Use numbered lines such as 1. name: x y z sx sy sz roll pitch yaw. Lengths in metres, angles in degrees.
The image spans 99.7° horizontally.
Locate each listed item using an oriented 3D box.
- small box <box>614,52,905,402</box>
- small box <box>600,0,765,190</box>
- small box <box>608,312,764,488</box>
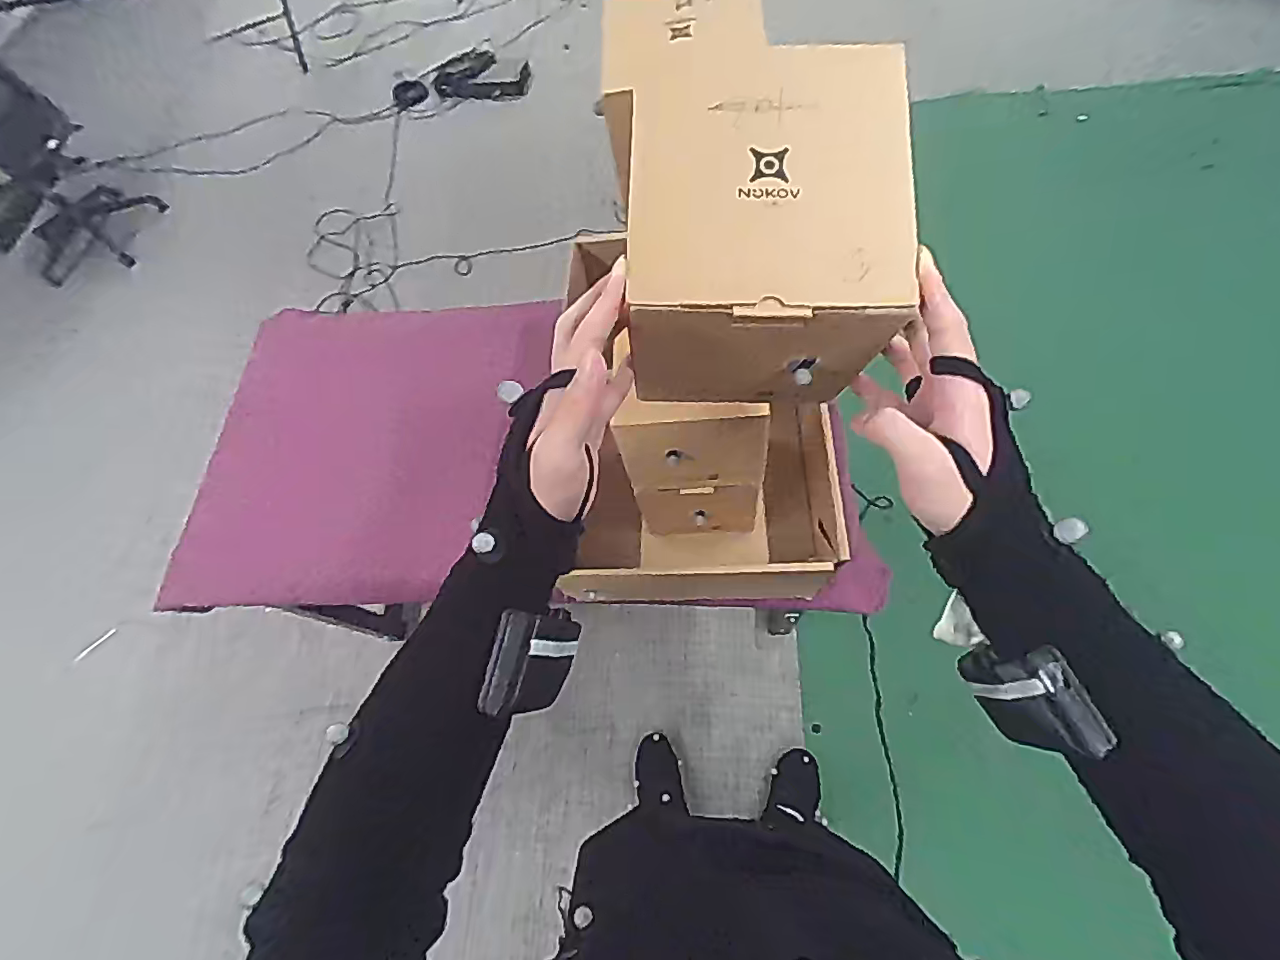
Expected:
1. small box: 0.074 -0.162 0.397 0.168 0.176 0.179 1 80 3
2. small box: 0.054 -0.421 0.624 0.168 0.176 0.179 -2 66 7
3. small box: 0.061 -0.097 0.660 0.168 0.176 0.179 -3 63 8
